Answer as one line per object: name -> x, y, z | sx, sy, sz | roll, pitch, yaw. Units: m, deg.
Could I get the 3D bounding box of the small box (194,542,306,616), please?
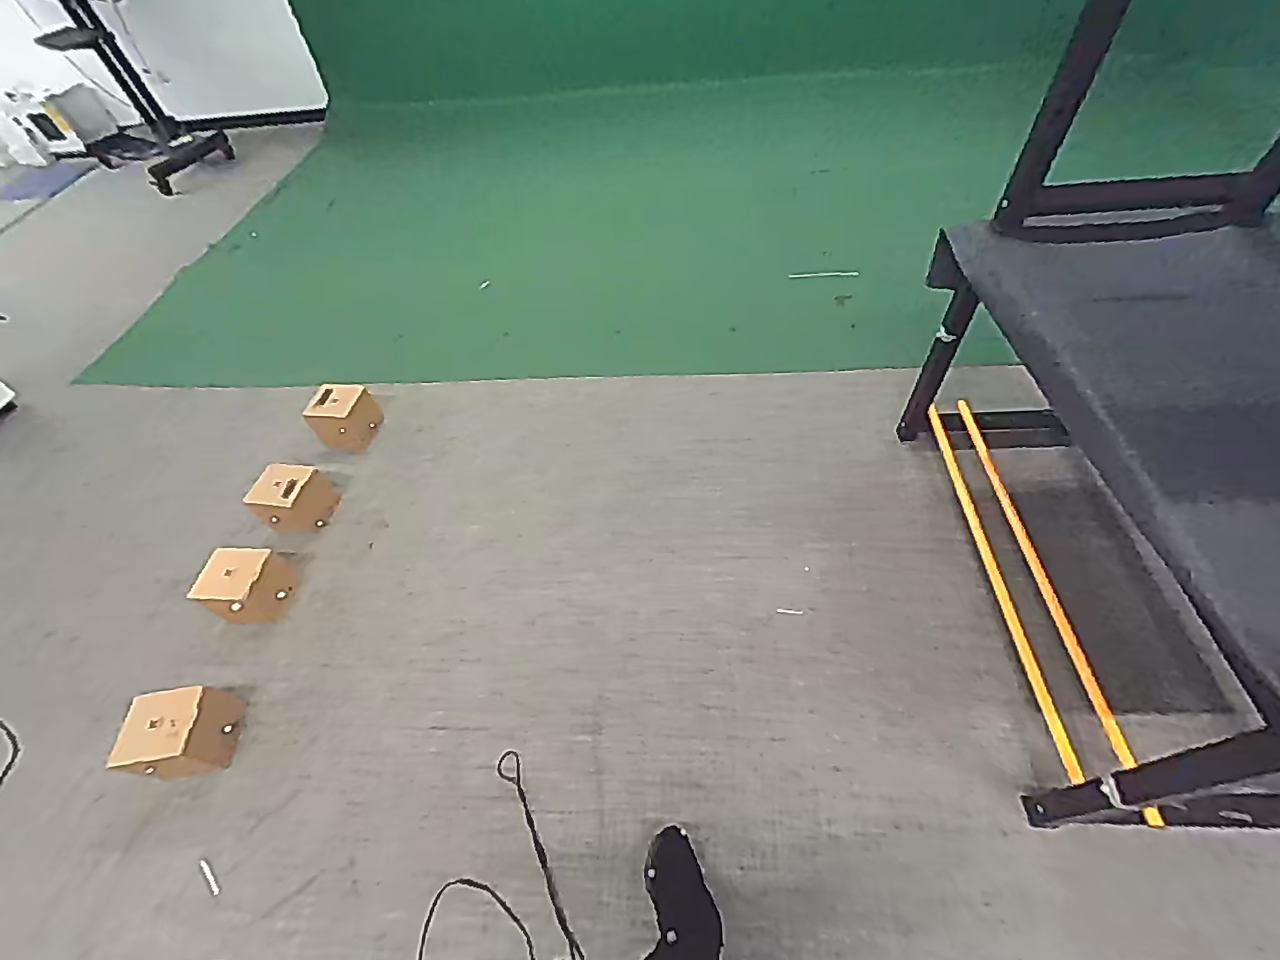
small box -> -1.160, 0.300, 1.623 | 0.179, 0.176, 0.168 | 0, 53, 6

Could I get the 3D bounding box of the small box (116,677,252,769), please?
small box -> -1.146, 0.622, 1.376 | 0.179, 0.176, 0.168 | -10, 54, -1

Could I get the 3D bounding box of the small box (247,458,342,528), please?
small box -> -1.145, 0.048, 1.811 | 0.179, 0.176, 0.168 | 5, 53, 10
